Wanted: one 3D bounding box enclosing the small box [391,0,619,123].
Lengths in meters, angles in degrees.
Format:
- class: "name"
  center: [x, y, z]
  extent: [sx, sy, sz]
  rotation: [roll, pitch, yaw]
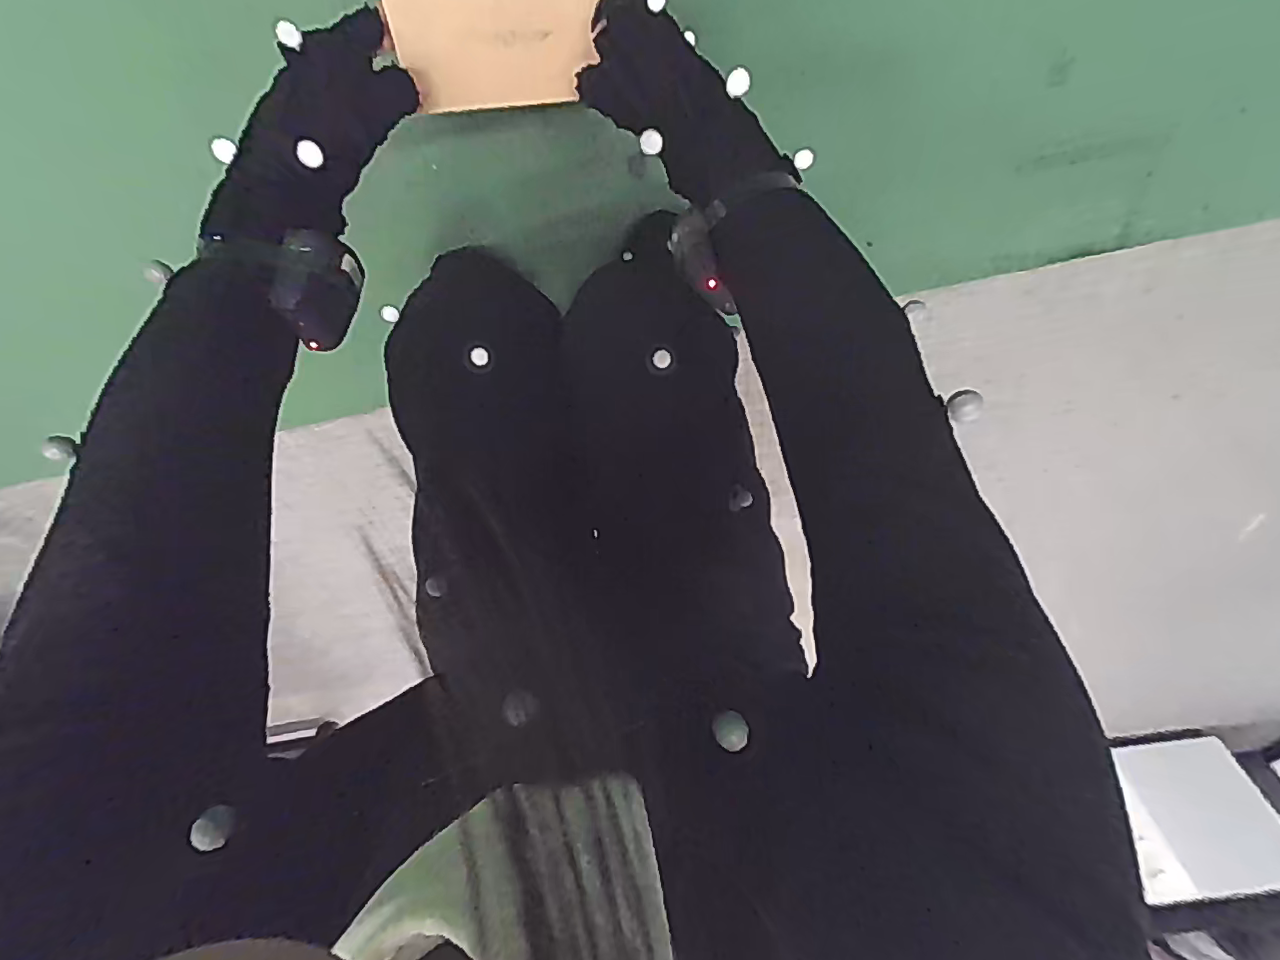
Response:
- class: "small box"
  center: [-0.116, -0.422, 0.445]
  extent: [0.168, 0.176, 0.179]
  rotation: [-9, 138, -5]
